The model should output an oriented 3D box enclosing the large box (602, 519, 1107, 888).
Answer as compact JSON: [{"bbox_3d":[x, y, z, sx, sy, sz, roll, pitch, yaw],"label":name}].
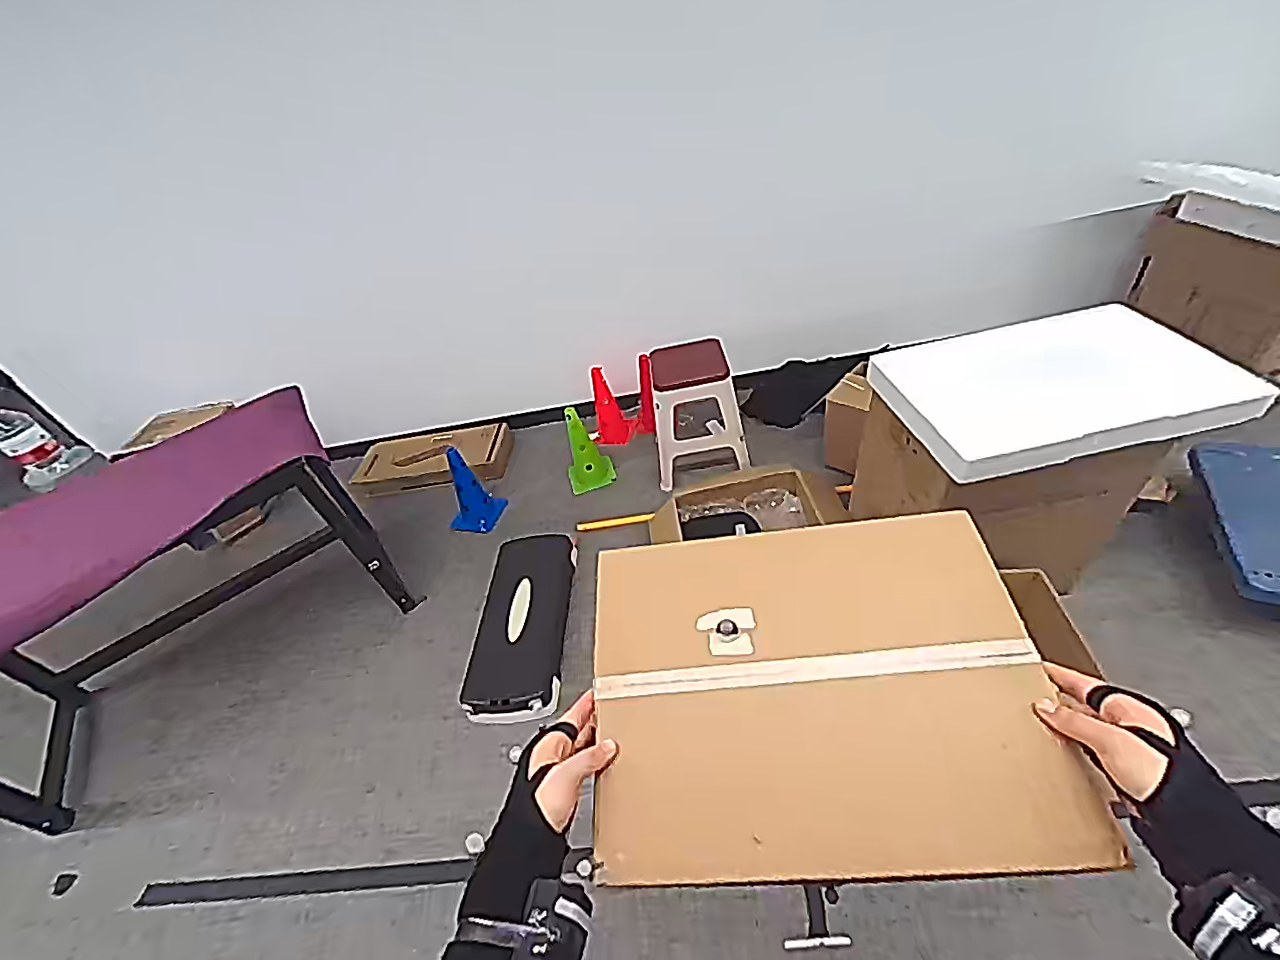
[{"bbox_3d":[0.186,0.280,0.639,0.408,0.320,0.320,-8,50,7],"label":"large box"}]
